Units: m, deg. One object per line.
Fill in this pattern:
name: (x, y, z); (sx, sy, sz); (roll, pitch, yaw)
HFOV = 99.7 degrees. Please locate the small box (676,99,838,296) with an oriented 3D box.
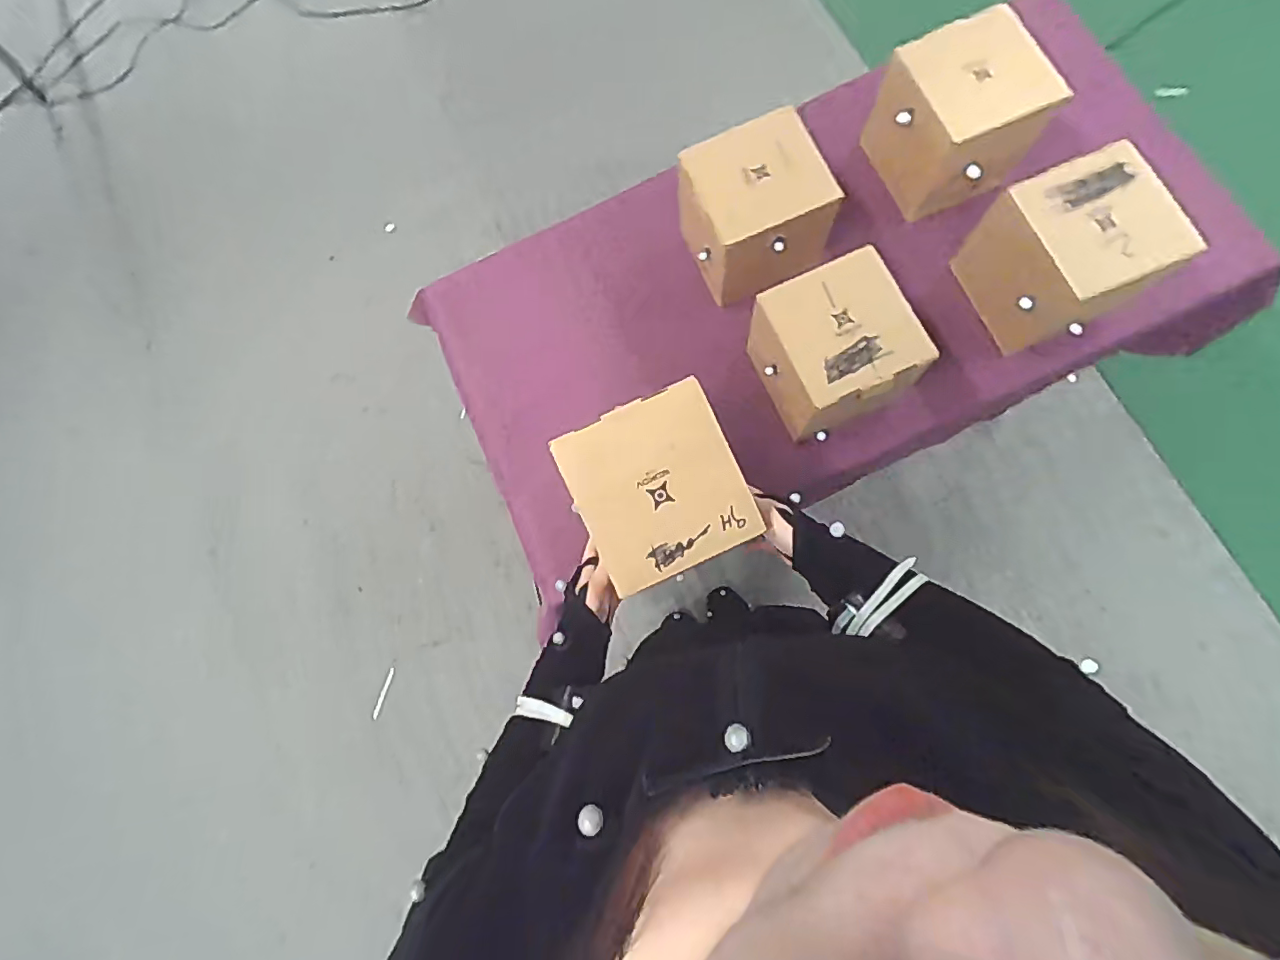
small box: (0.167, -0.411, 0.815); (0.179, 0.176, 0.168); (-22, 78, 2)

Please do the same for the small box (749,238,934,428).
small box: (0.264, -0.188, 0.757); (0.168, 0.176, 0.179); (-24, 76, 2)

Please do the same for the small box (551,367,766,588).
small box: (0.017, -0.002, 0.615); (0.168, 0.176, 0.179); (-25, 91, 0)

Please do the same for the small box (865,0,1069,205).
small box: (0.466, -0.546, 0.803); (0.168, 0.176, 0.179); (-22, 76, 3)
